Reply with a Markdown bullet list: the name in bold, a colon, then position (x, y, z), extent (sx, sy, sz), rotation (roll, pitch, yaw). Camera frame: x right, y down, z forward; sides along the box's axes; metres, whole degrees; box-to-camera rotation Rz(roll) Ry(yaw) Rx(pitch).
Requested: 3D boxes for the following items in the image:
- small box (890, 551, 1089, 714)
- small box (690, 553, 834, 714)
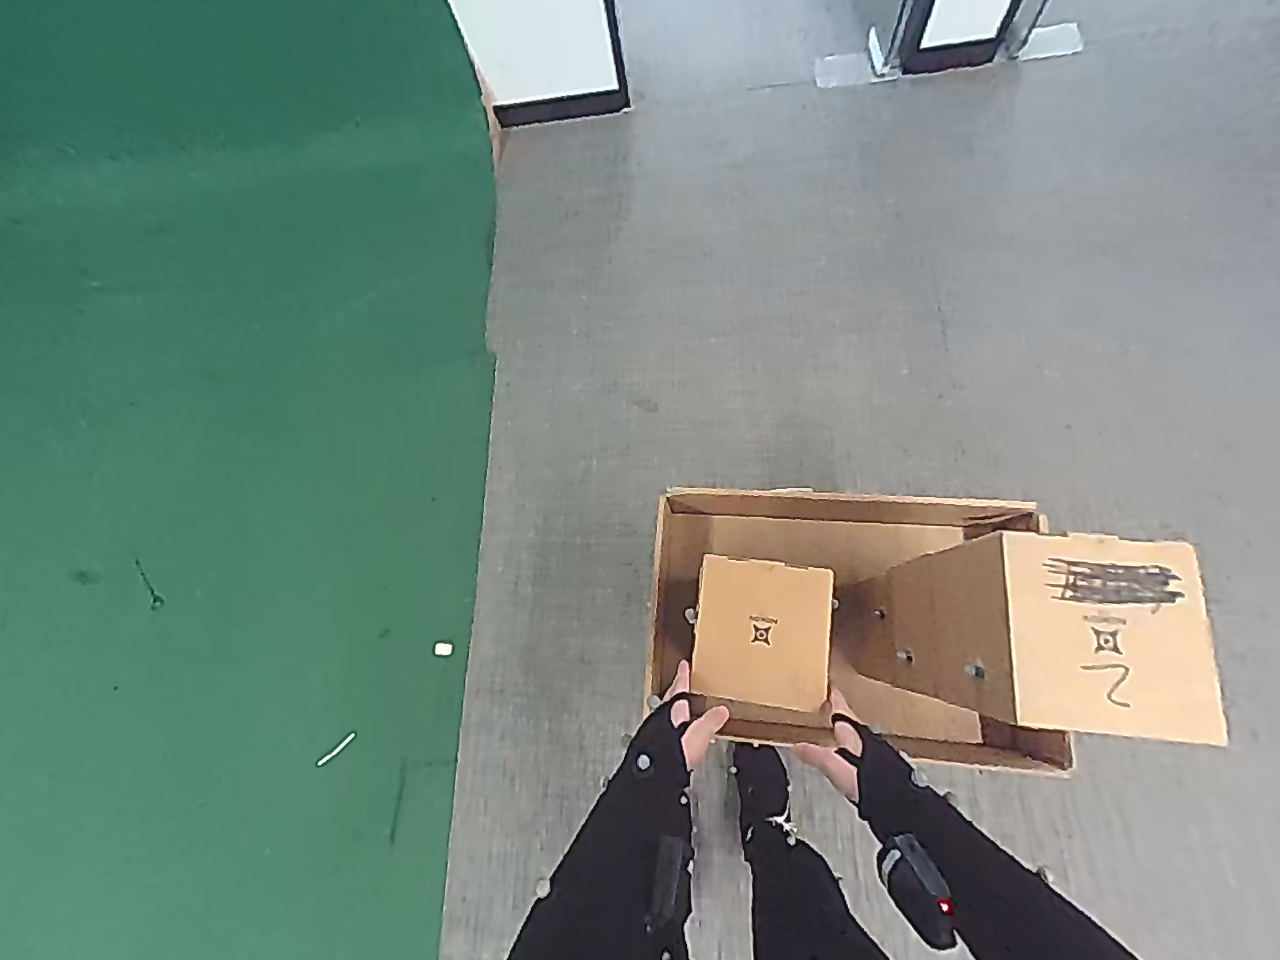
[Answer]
- **small box**: position (0.443, 0.197, 0.715), extent (0.168, 0.176, 0.179), rotation (3, 74, 8)
- **small box**: position (0.166, 0.209, 0.753), extent (0.168, 0.176, 0.179), rotation (6, 74, 10)
